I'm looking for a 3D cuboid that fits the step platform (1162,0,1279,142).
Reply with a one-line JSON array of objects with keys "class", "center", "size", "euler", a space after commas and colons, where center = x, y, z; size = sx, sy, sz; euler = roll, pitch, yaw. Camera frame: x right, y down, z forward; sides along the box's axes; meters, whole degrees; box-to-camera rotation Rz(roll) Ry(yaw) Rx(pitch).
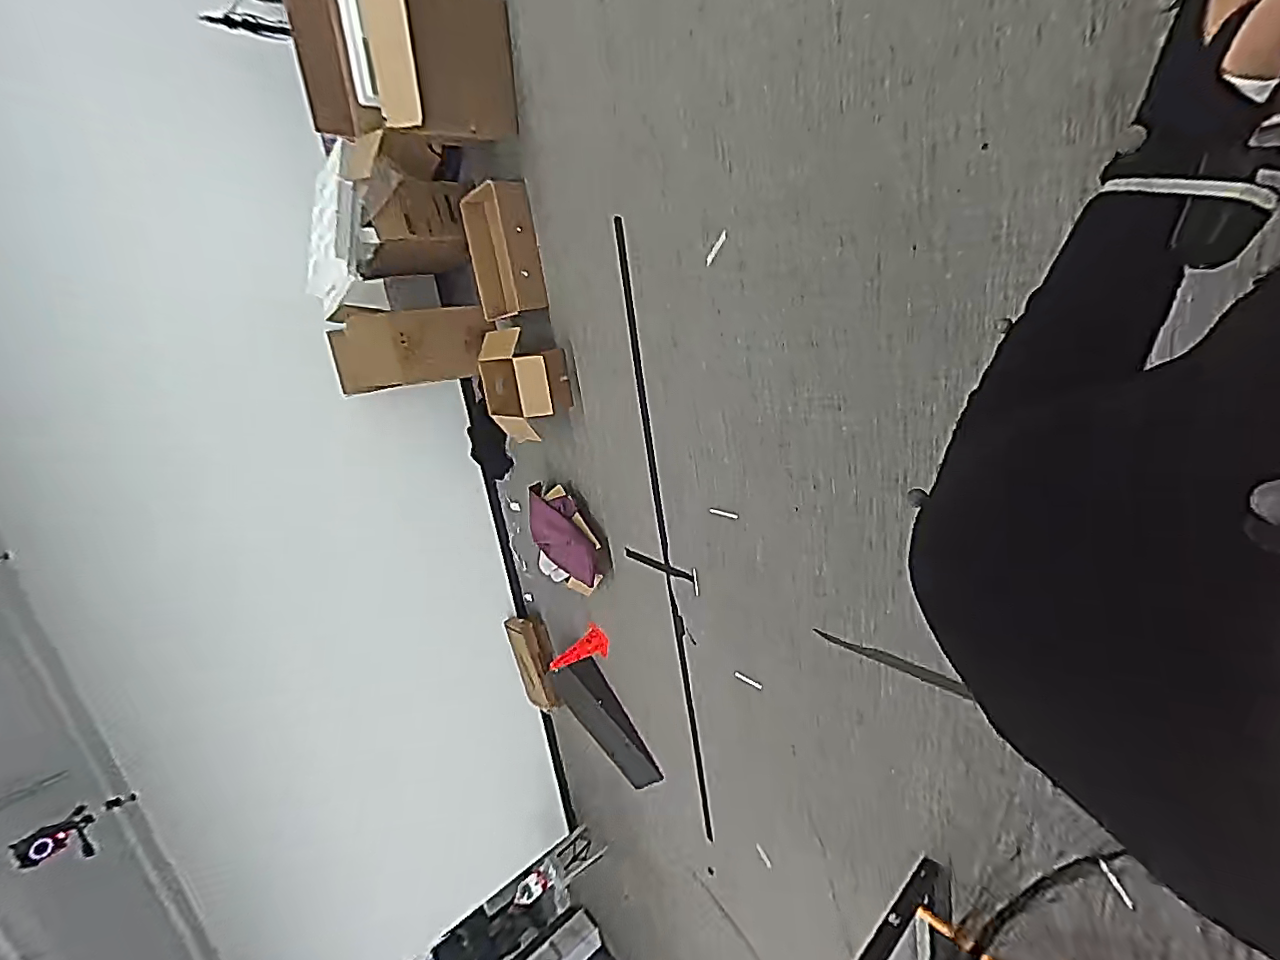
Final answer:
[{"class": "step platform", "center": [0.980, -0.590, 0.507], "size": [0.684, 0.204, 0.286], "euler": [10, 114, 50]}]
